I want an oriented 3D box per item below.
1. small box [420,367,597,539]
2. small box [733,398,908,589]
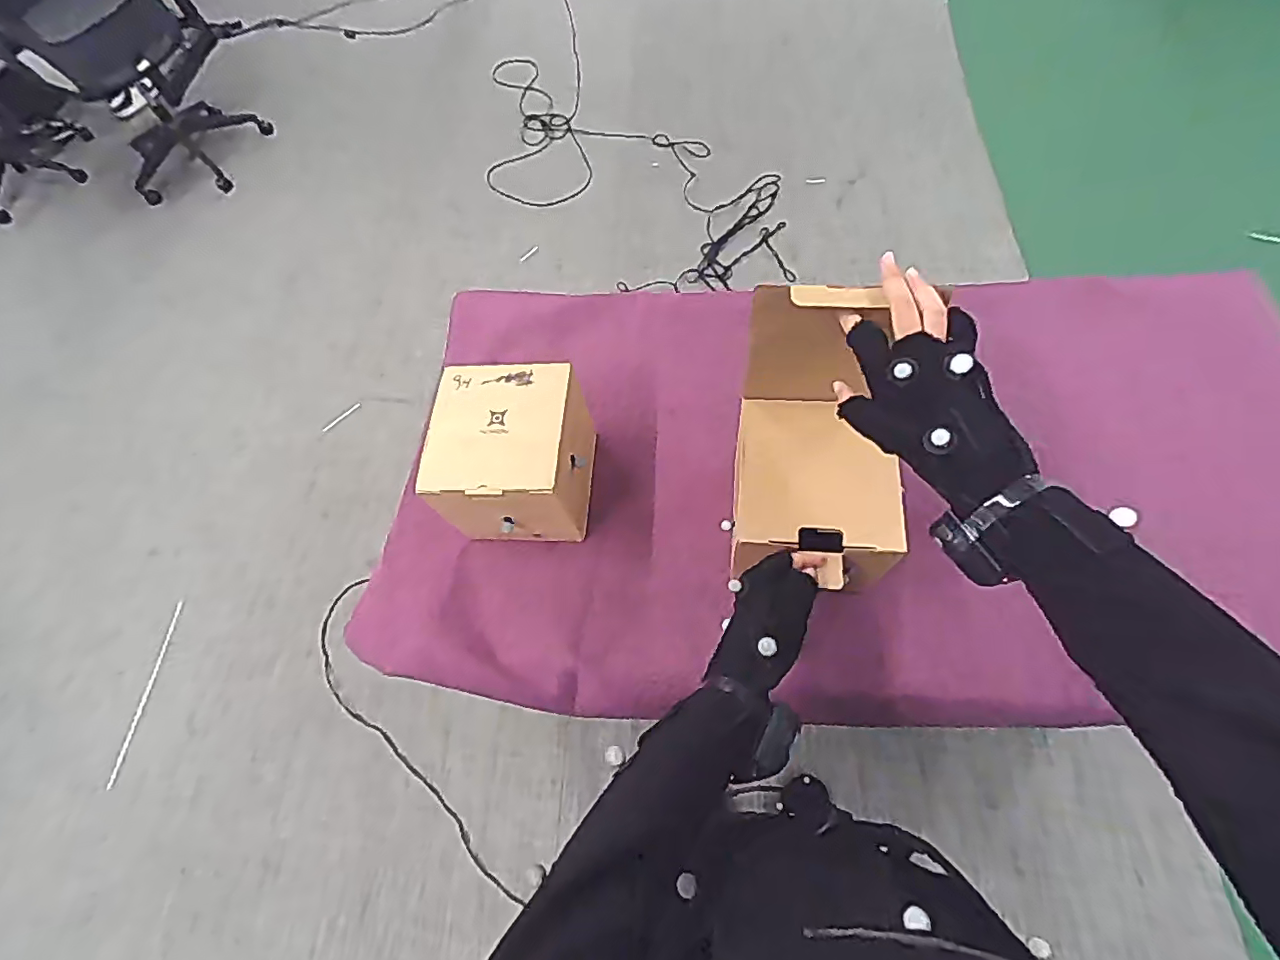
[{"bbox_3d":[-0.157,-0.027,0.709,0.168,0.176,0.179,0,65,7],"label":"small box"},{"bbox_3d":[0.198,0.023,0.637,0.168,0.176,0.179,3,65,9],"label":"small box"}]
